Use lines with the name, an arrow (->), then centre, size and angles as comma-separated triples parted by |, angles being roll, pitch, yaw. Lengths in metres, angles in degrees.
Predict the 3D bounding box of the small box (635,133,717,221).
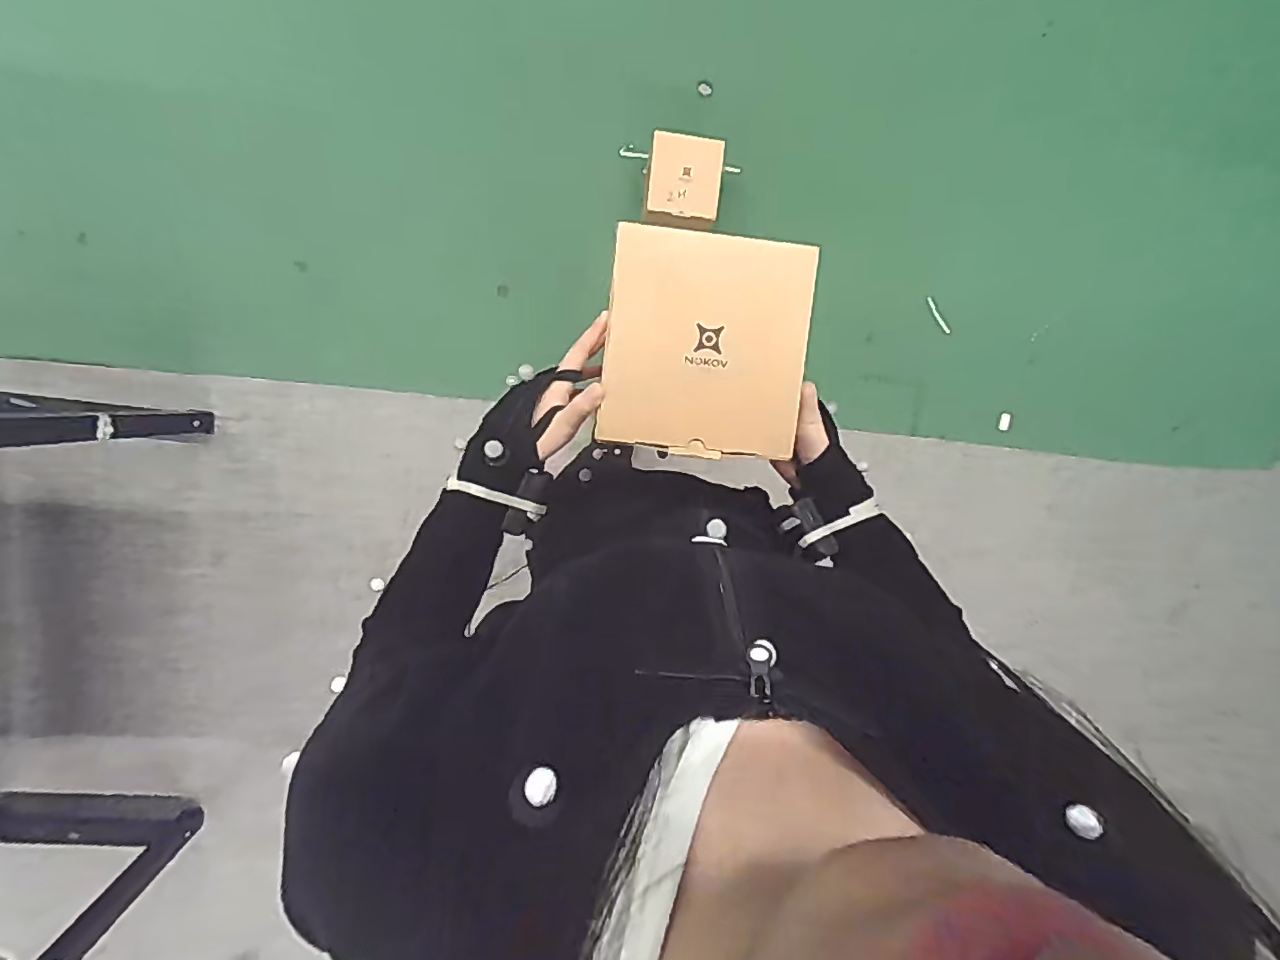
small box -> 0.079, -0.699, 1.313 | 0.168, 0.176, 0.179 | 5, 97, -7

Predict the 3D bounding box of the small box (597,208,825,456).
small box -> 0.050, -0.120, 0.505 | 0.168, 0.176, 0.179 | 5, 95, -6
